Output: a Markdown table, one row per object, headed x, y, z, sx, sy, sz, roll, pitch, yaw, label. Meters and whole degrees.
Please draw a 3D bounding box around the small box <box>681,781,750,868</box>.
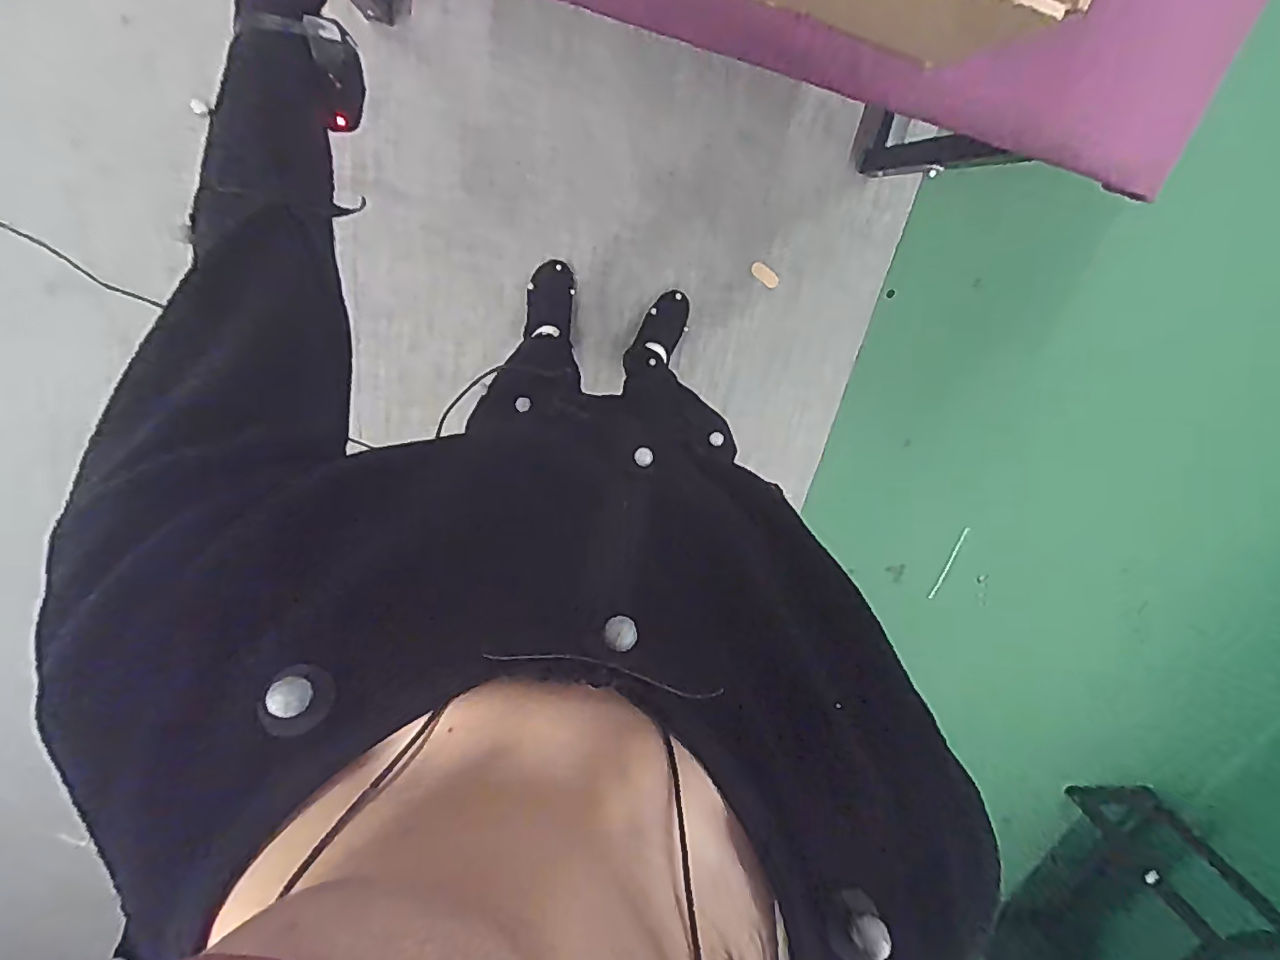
| x | y | z | sx | sy | sz | roll | pitch | yaw | label |
| --- | --- | --- | --- | --- | --- | --- | --- | --- | --- |
| 0.240 | 1.106 | 1.748 | 0.179 | 0.176 | 0.168 | -3 | 114 | -8 | small box |
